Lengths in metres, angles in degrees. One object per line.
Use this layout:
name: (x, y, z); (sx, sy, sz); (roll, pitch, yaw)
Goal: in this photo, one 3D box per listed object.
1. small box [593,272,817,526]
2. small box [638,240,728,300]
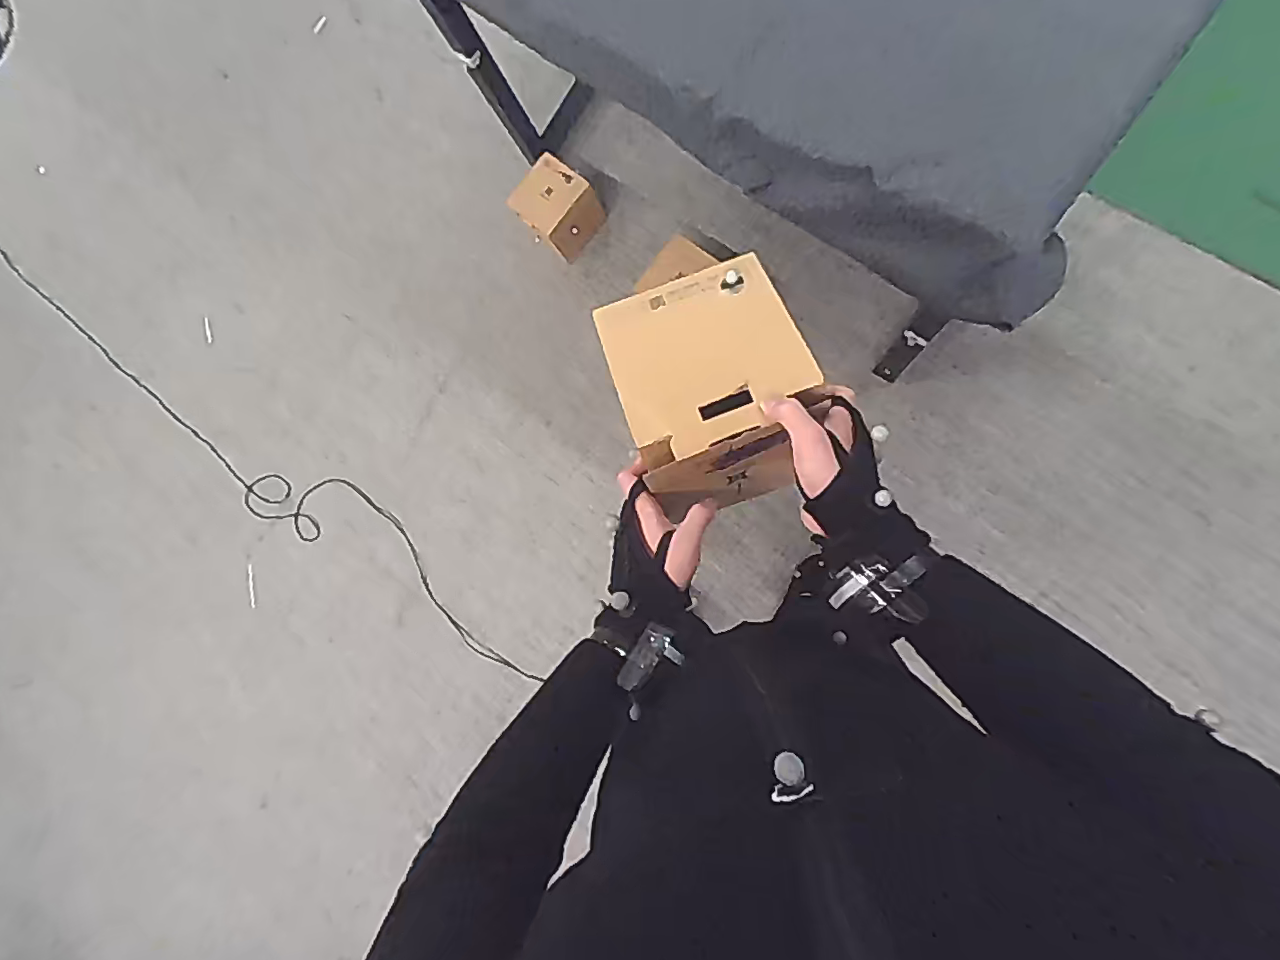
small box: (0.064, -0.082, 0.549); (0.168, 0.179, 0.176); (-20, 61, 5)
small box: (0.125, -0.475, 1.409); (0.168, 0.176, 0.179); (38, 94, 12)
